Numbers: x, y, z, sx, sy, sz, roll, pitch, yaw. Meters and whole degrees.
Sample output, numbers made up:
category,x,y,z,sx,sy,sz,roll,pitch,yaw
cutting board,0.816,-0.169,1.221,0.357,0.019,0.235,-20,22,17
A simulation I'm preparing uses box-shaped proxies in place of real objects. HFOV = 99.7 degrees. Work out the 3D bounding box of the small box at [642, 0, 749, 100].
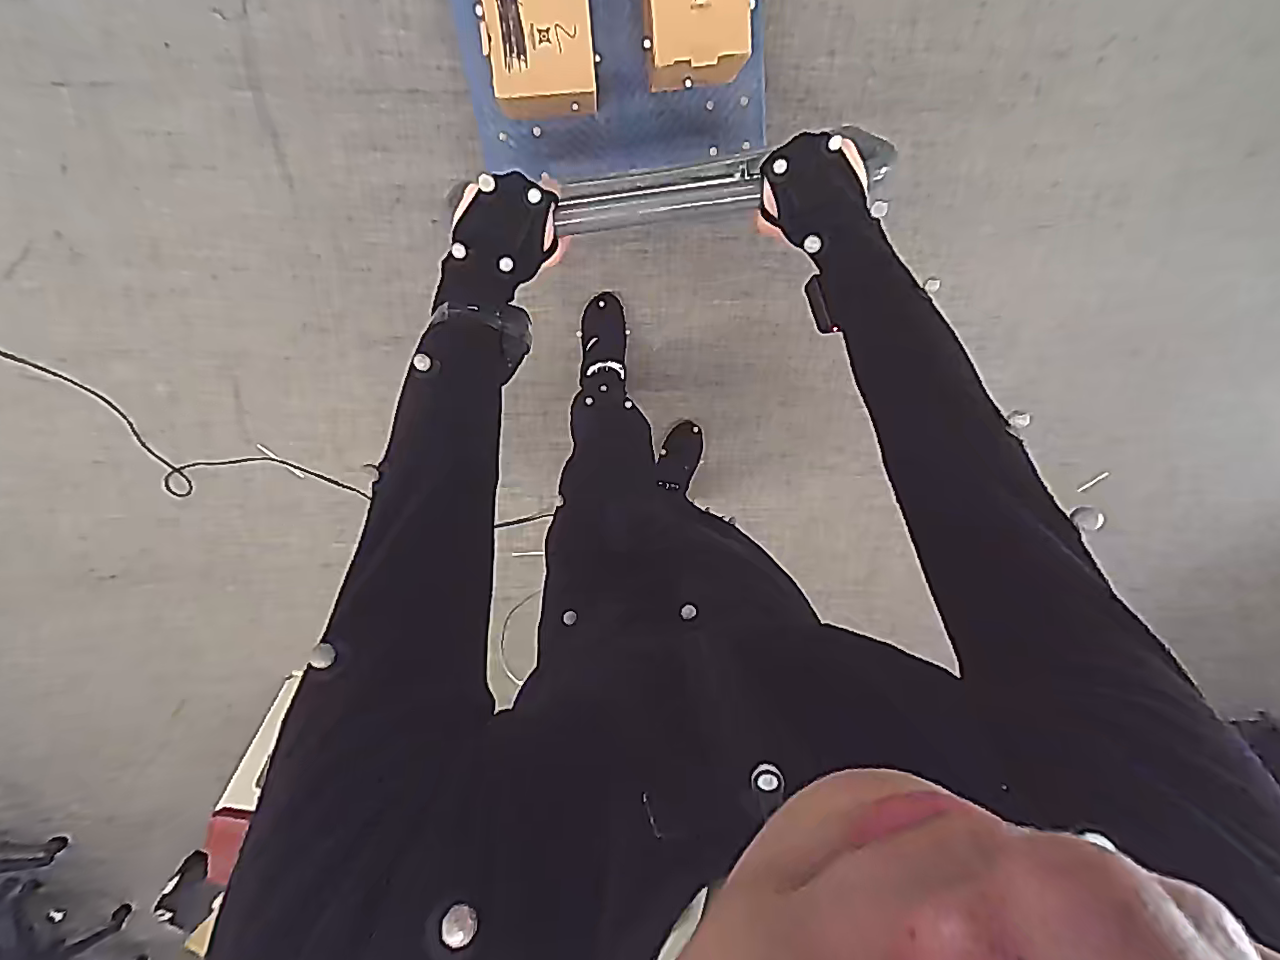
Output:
category,x,y,z,sx,sy,sz,roll,pitch,yaw
small box,0.096,-0.822,0.982,0.168,0.176,0.179,-7,113,0
